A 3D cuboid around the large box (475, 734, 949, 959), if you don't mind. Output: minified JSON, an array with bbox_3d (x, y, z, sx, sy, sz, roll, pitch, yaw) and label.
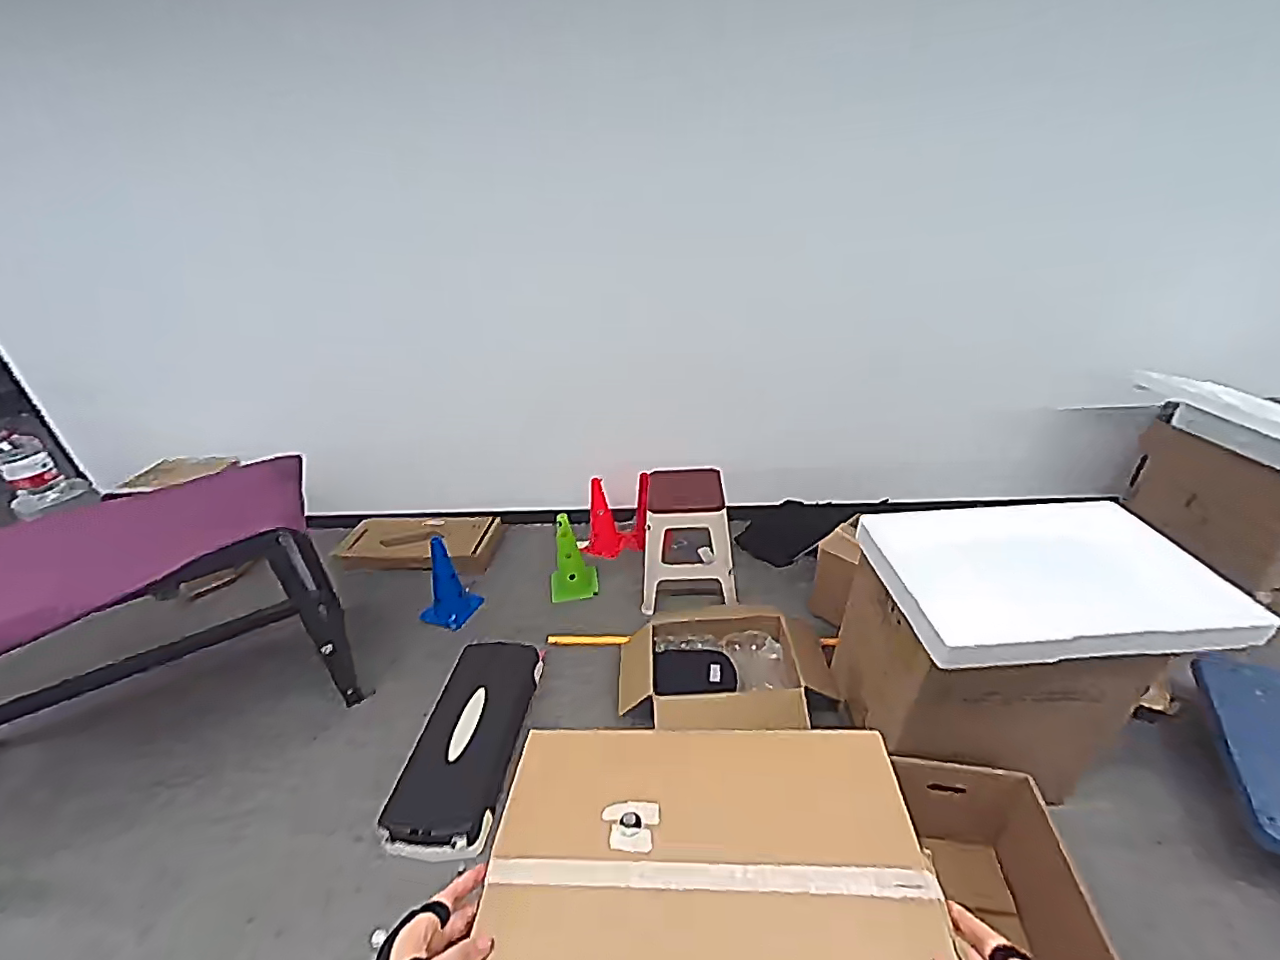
[{"bbox_3d":[0.077,0.507,0.569,0.408,0.320,0.320,-5,26,7],"label":"large box"}]
